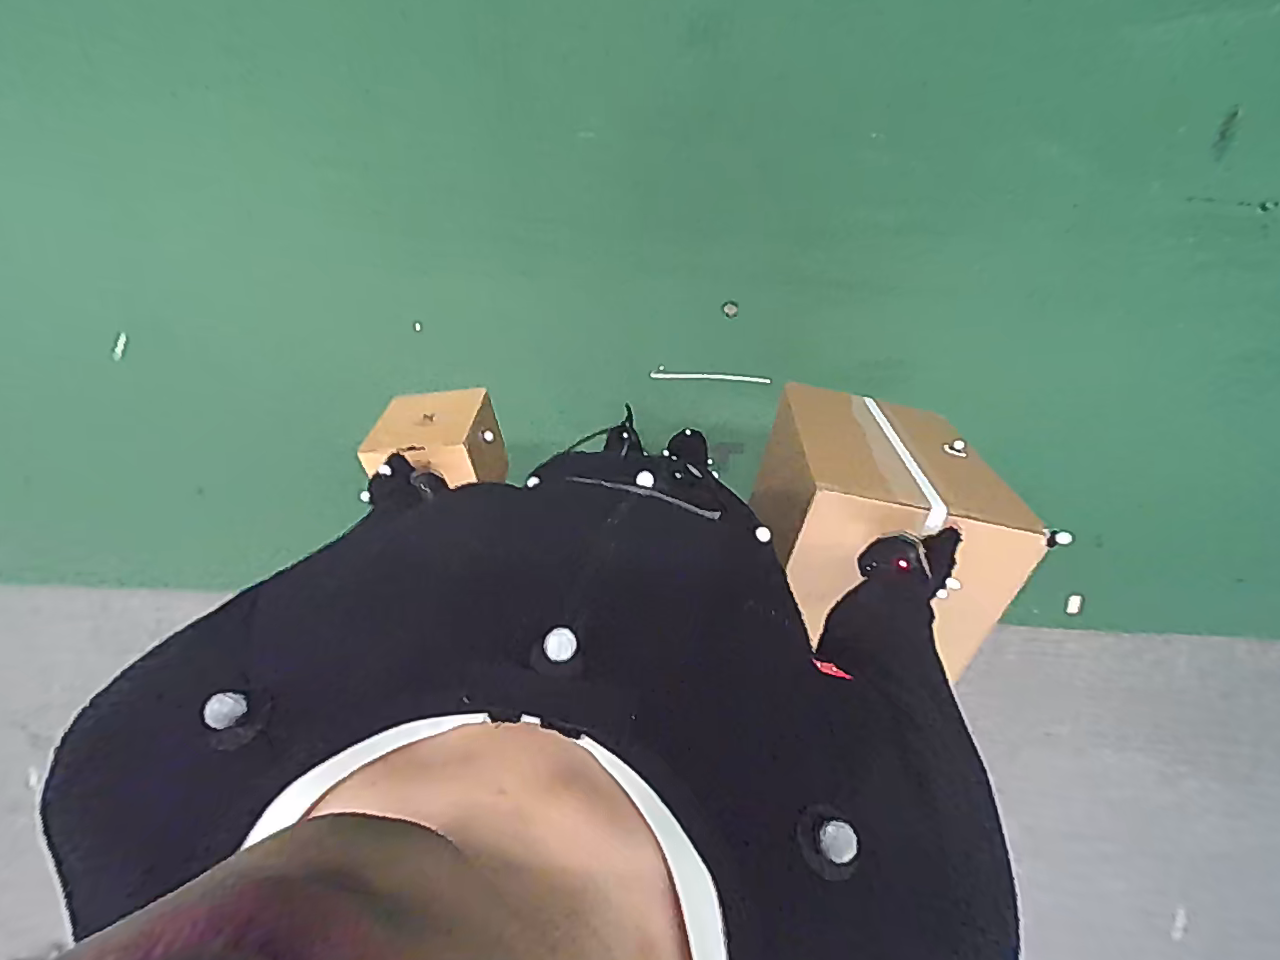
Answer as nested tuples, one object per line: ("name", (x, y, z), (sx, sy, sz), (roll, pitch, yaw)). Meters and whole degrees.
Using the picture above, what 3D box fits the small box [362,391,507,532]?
("small box", (-0.337, -0.032, 0.930), (0.168, 0.179, 0.176), (-6, 128, 2))
